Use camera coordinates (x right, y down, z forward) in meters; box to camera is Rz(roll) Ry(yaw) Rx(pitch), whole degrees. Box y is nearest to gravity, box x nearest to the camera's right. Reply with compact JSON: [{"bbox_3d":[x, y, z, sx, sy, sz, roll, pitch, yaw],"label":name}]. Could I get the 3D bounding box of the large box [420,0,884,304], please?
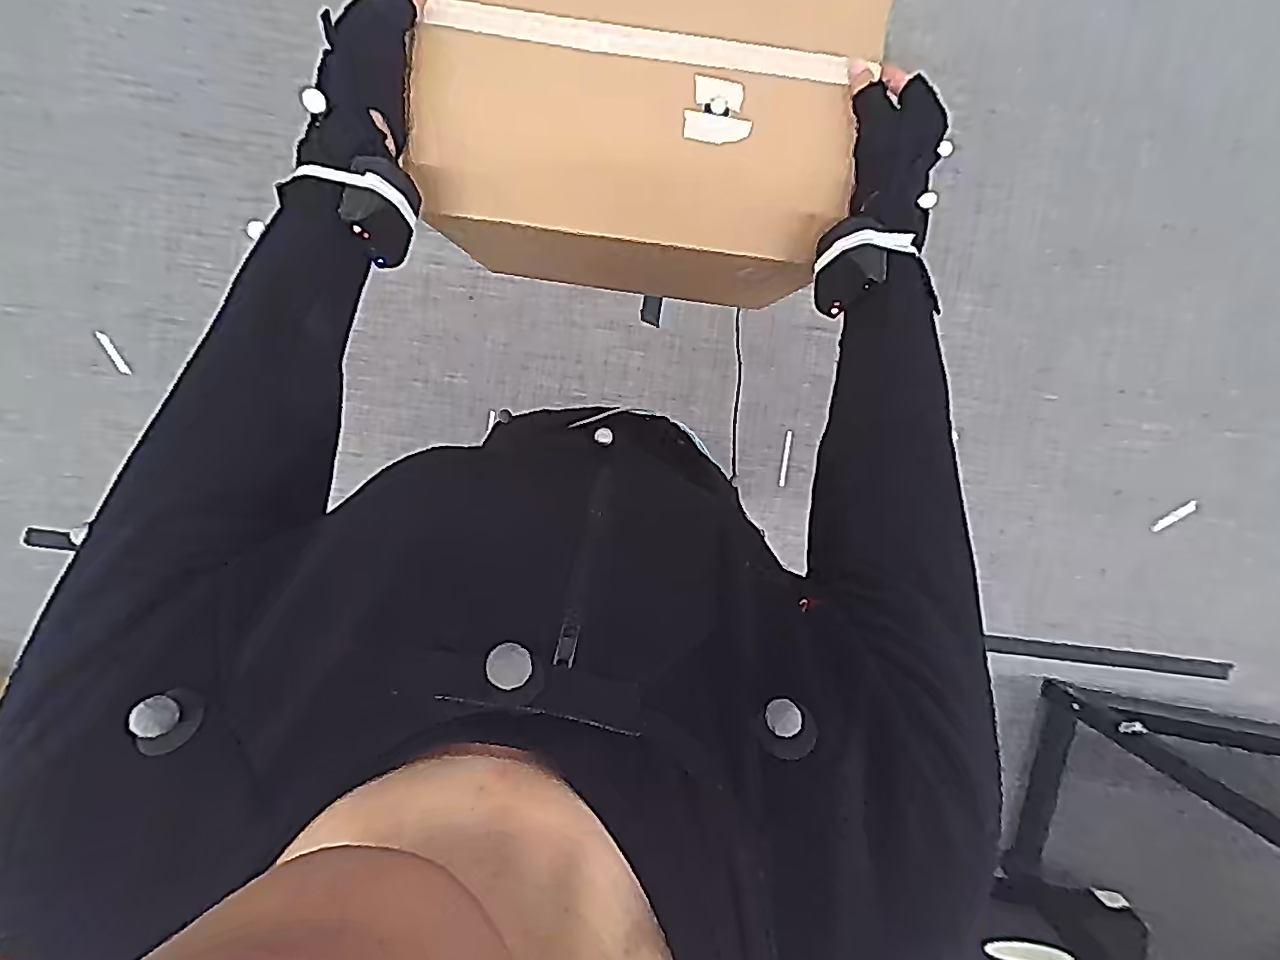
[{"bbox_3d":[0.004,-0.402,0.623,0.408,0.320,0.320,7,101,-3],"label":"large box"}]
